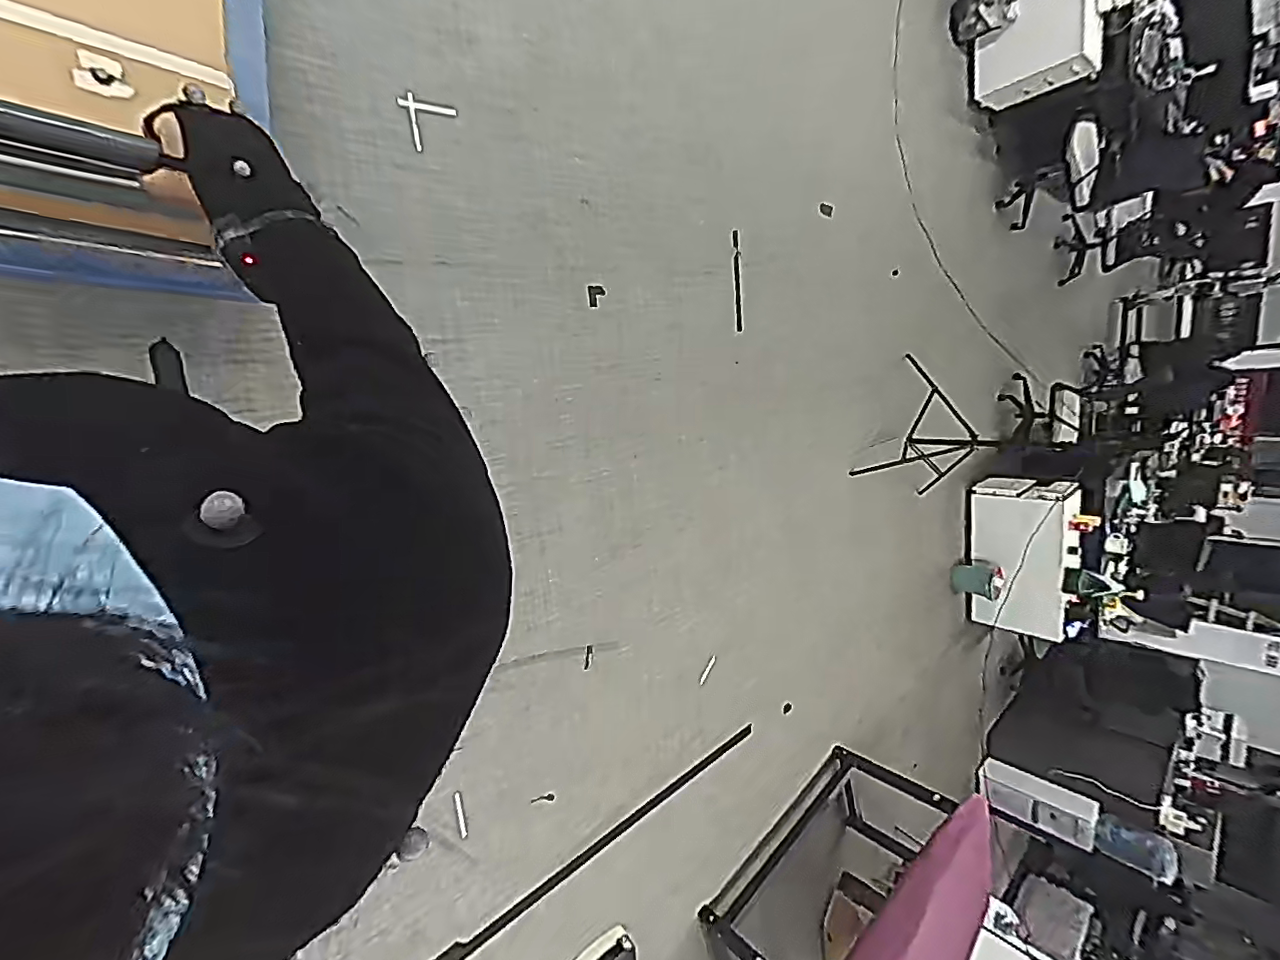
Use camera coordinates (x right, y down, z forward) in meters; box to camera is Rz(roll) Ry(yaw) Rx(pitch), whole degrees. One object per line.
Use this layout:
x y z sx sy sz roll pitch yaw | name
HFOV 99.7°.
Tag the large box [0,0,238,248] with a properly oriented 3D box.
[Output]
-0.846 -0.563 0.769 0.408 0.320 0.320 -4 98 -41 | large box
